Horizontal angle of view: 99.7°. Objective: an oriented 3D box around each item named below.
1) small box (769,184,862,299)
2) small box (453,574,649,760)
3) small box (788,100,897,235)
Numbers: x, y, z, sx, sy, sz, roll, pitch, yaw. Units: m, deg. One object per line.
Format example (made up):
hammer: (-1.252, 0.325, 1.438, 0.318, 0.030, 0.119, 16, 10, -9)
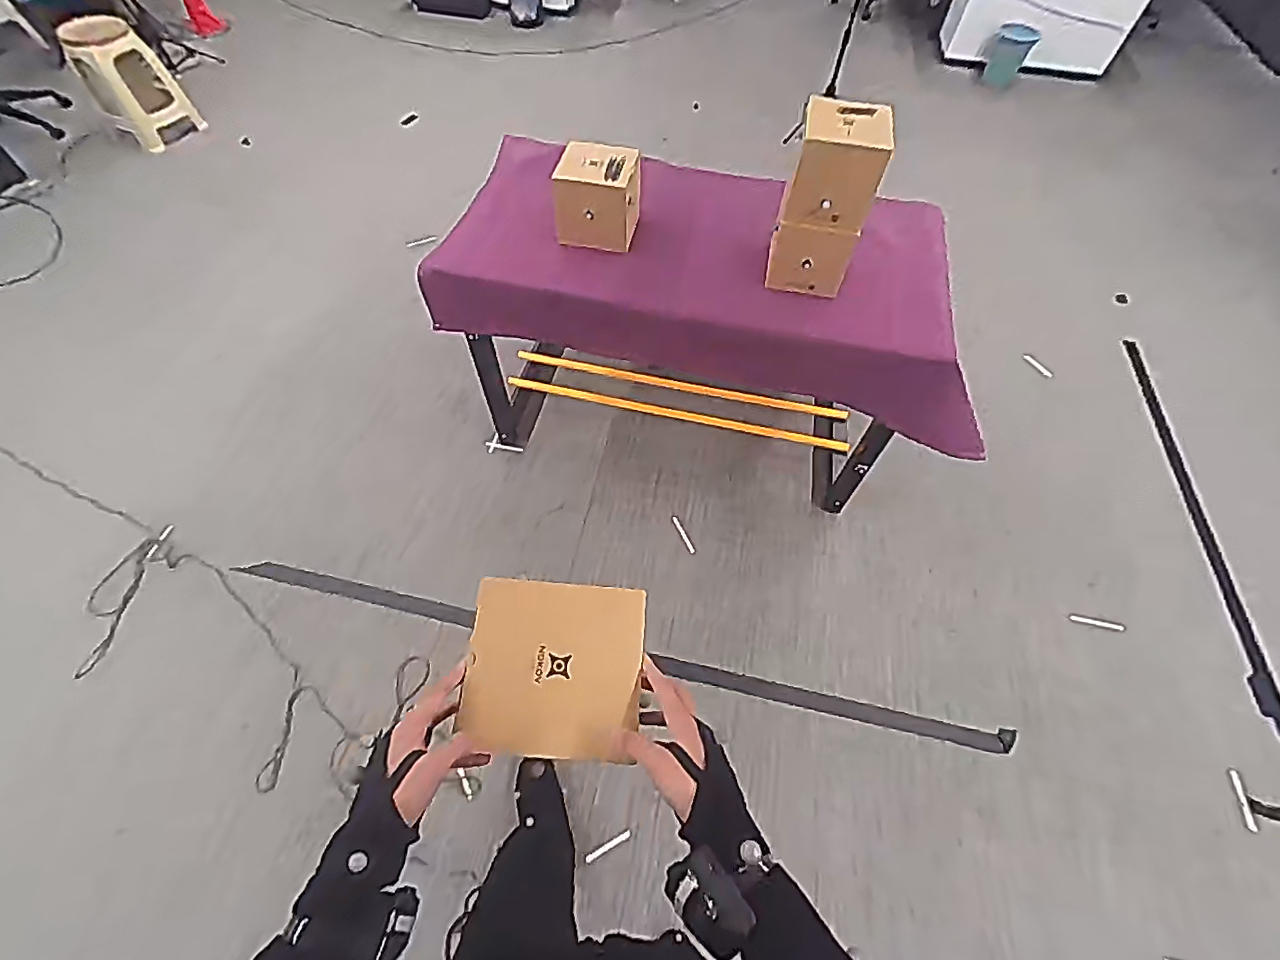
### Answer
small box: (0.402, -0.546, 1.249, 0.168, 0.176, 0.179, 12, 58, 5)
small box: (-0.088, 0.213, 0.610, 0.179, 0.176, 0.168, 5, 64, -1)
small box: (0.410, -0.640, 1.114, 0.168, 0.176, 0.179, 12, 59, 6)
